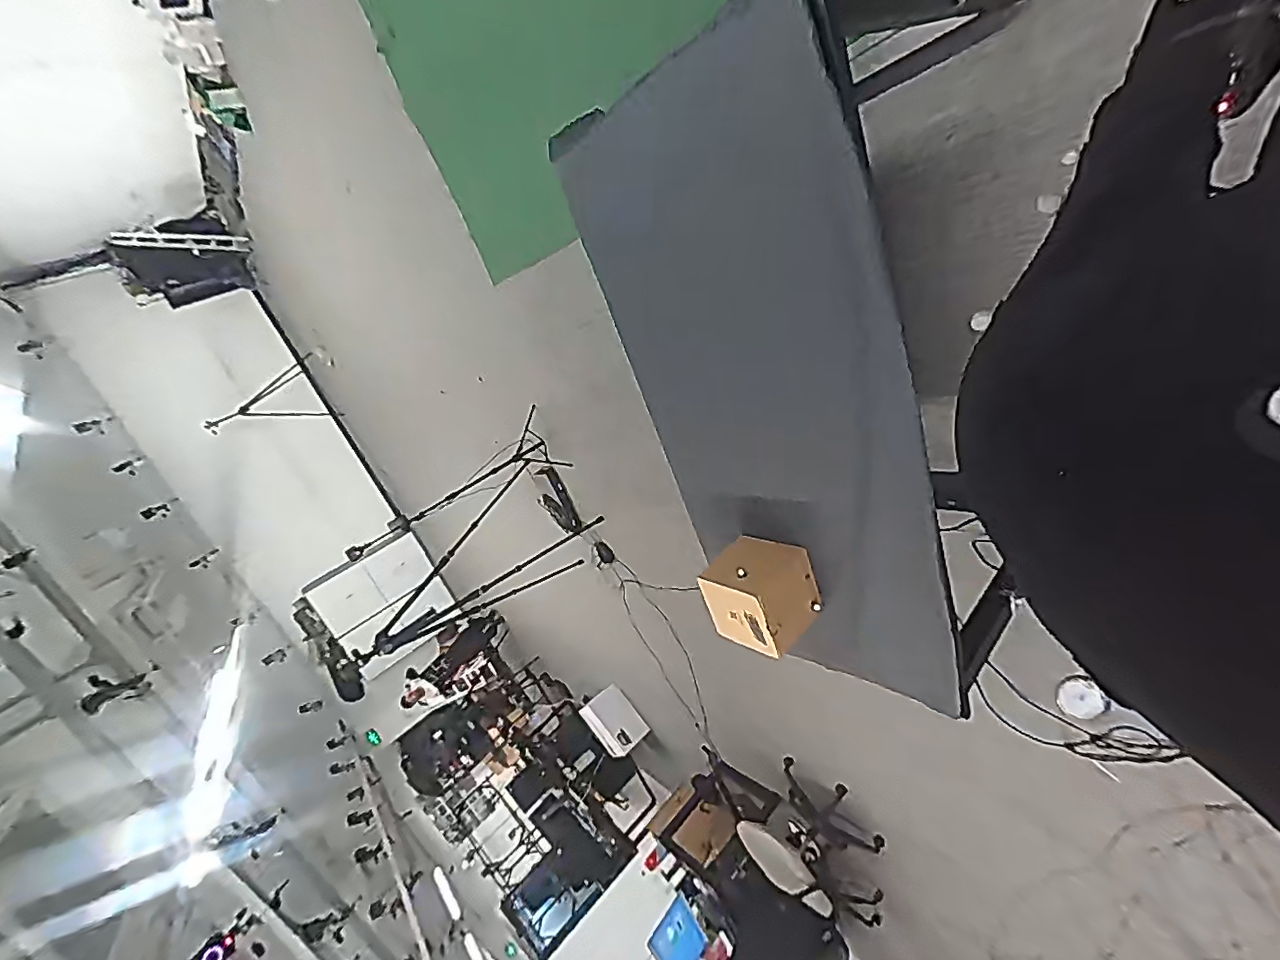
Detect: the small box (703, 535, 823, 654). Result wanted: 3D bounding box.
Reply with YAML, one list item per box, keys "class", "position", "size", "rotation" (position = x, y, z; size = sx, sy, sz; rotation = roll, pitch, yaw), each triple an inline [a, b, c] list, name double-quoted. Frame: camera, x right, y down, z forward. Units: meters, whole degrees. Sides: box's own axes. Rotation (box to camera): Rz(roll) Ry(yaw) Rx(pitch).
- class: "small box"
  position: [0.272, 0.237, 1.168]
  size: [0.179, 0.176, 0.168]
  rotation: [8, 126, 53]
